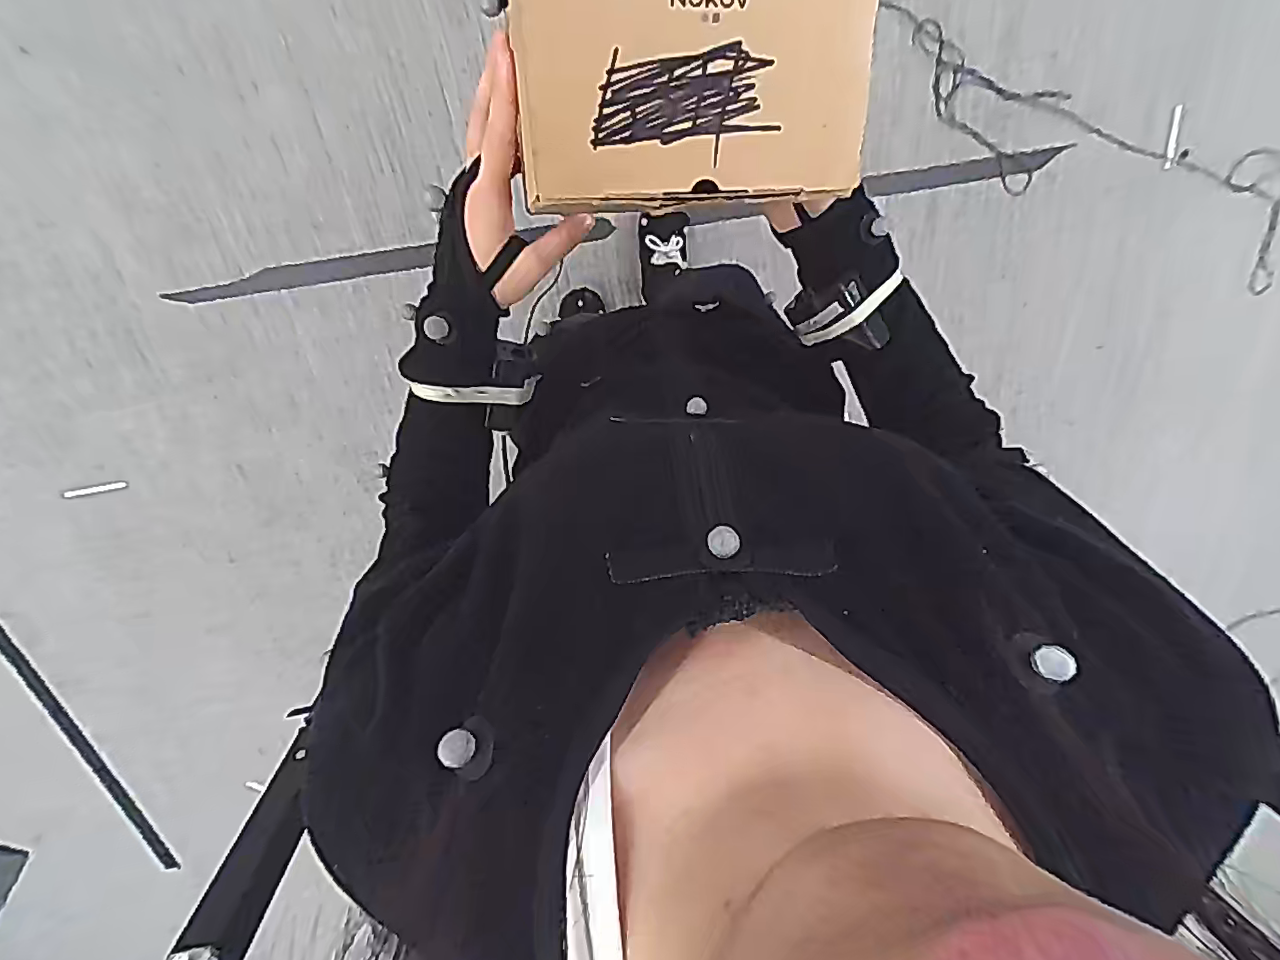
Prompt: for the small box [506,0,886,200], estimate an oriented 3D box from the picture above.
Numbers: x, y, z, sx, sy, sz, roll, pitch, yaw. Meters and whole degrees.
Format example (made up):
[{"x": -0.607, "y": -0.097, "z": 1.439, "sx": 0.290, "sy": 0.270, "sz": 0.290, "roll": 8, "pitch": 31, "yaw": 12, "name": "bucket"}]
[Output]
[{"x": 0.014, "y": -0.254, "z": 0.295, "sx": 0.168, "sy": 0.176, "sz": 0.179, "roll": -7, "pitch": 114, "yaw": -11, "name": "small box"}]
